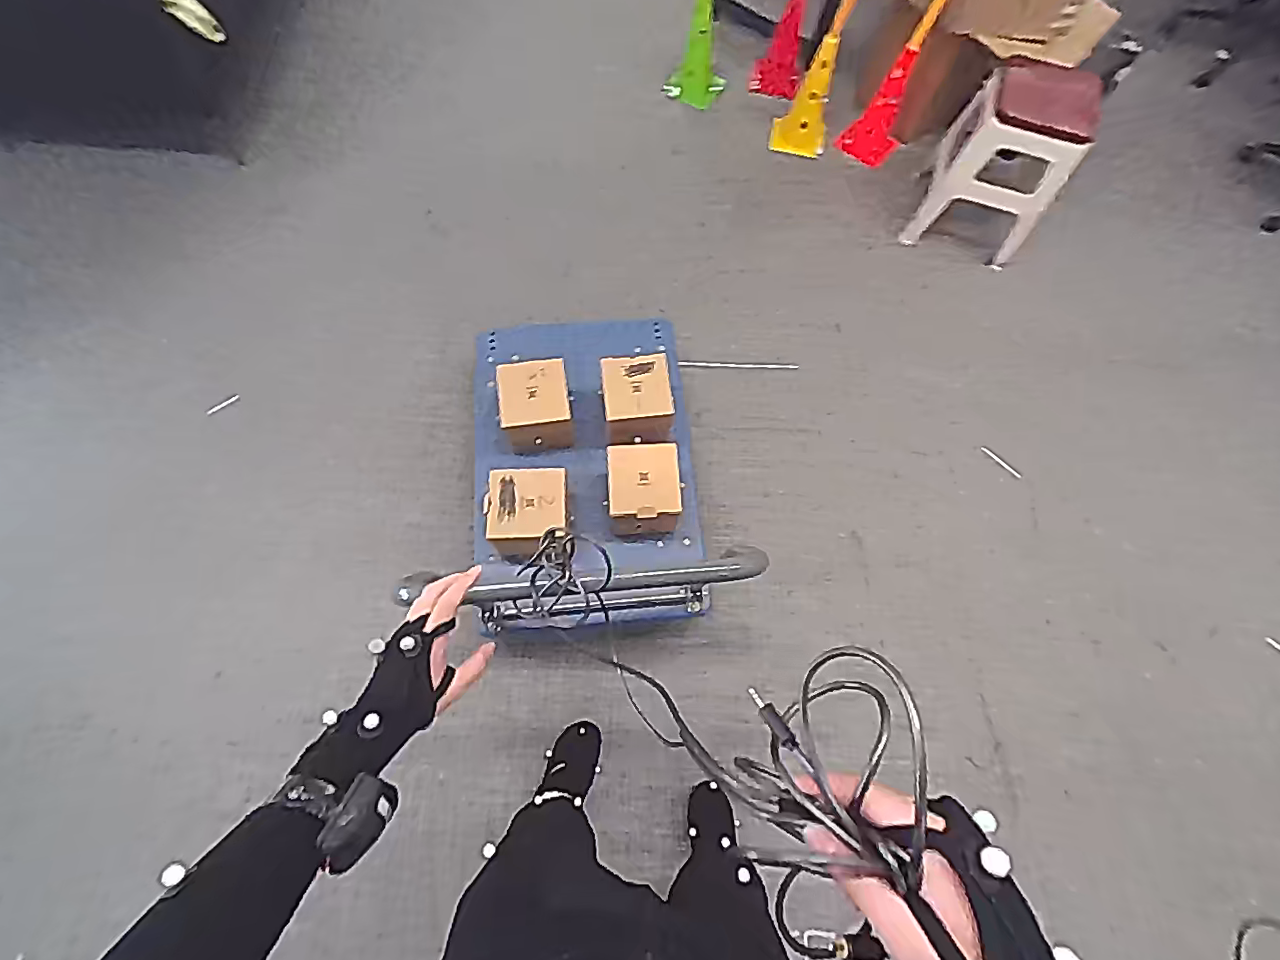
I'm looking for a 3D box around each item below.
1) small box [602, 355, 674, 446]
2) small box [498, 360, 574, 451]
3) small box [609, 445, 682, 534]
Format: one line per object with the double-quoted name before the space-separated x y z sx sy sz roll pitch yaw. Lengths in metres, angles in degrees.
"small box" -0.009 -0.203 1.410 0.168 0.176 0.179 -6 71 -3
"small box" -0.264 -0.184 1.396 0.168 0.176 0.179 -7 70 -5
"small box" 0.008 0.027 1.329 0.168 0.176 0.179 -3 71 -3
